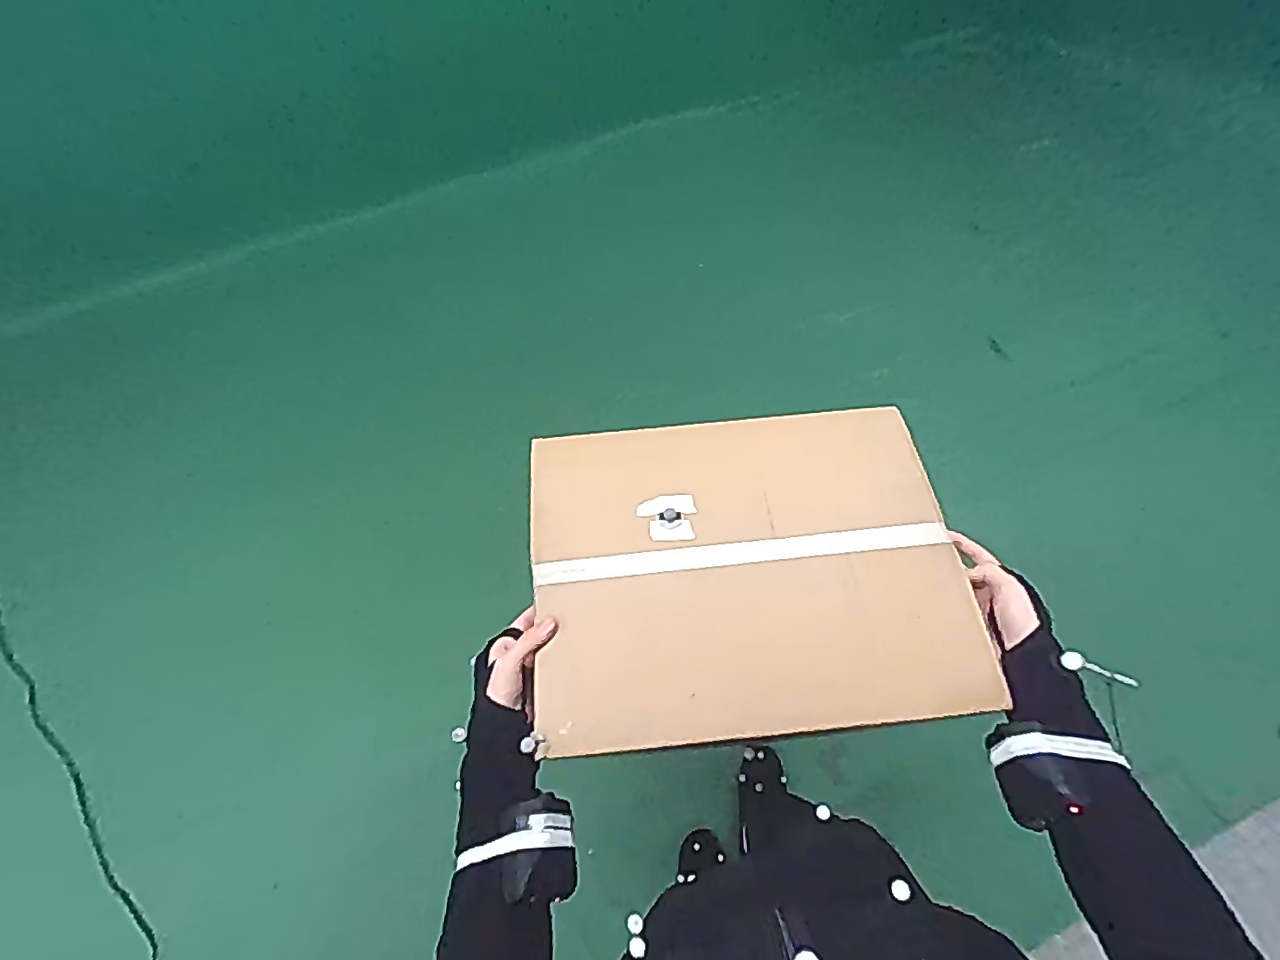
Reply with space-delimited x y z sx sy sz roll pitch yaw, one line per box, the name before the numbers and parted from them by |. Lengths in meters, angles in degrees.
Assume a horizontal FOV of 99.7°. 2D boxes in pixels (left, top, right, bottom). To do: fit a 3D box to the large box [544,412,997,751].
large box | 0.112 0.146 0.669 0.408 0.320 0.320 -6 62 0
